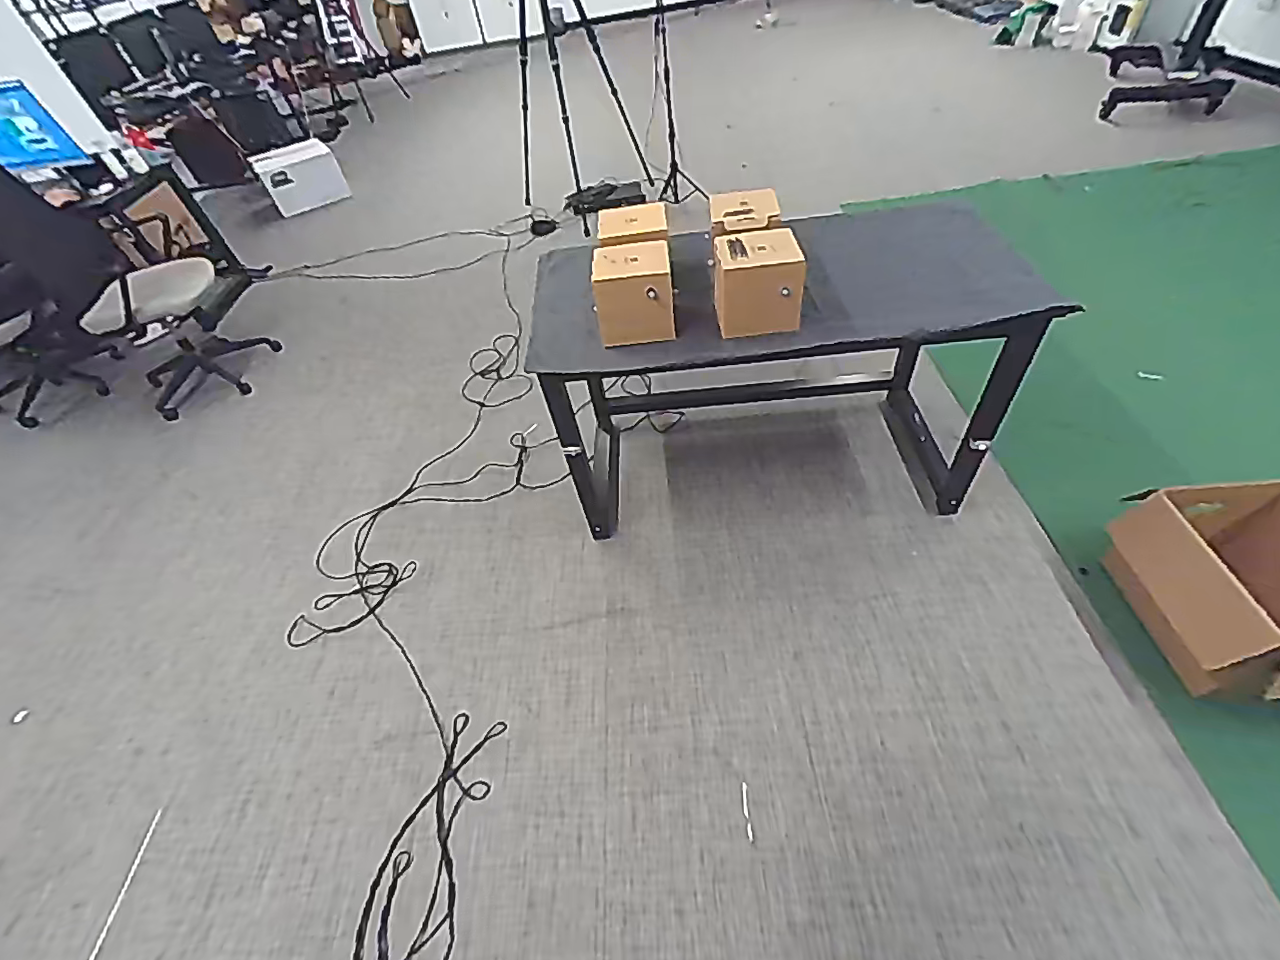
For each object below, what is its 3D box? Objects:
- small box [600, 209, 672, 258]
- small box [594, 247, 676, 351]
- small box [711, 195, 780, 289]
[{"bbox_3d":[-0.005,-0.589,1.433,0.179,0.176,0.168,-7,48,5],"label":"small box"},{"bbox_3d":[-0.006,-0.426,1.280,0.179,0.176,0.168,-5,46,5],"label":"small box"},{"bbox_3d":[0.270,-0.610,1.400,0.168,0.176,0.179,-2,47,8],"label":"small box"}]
